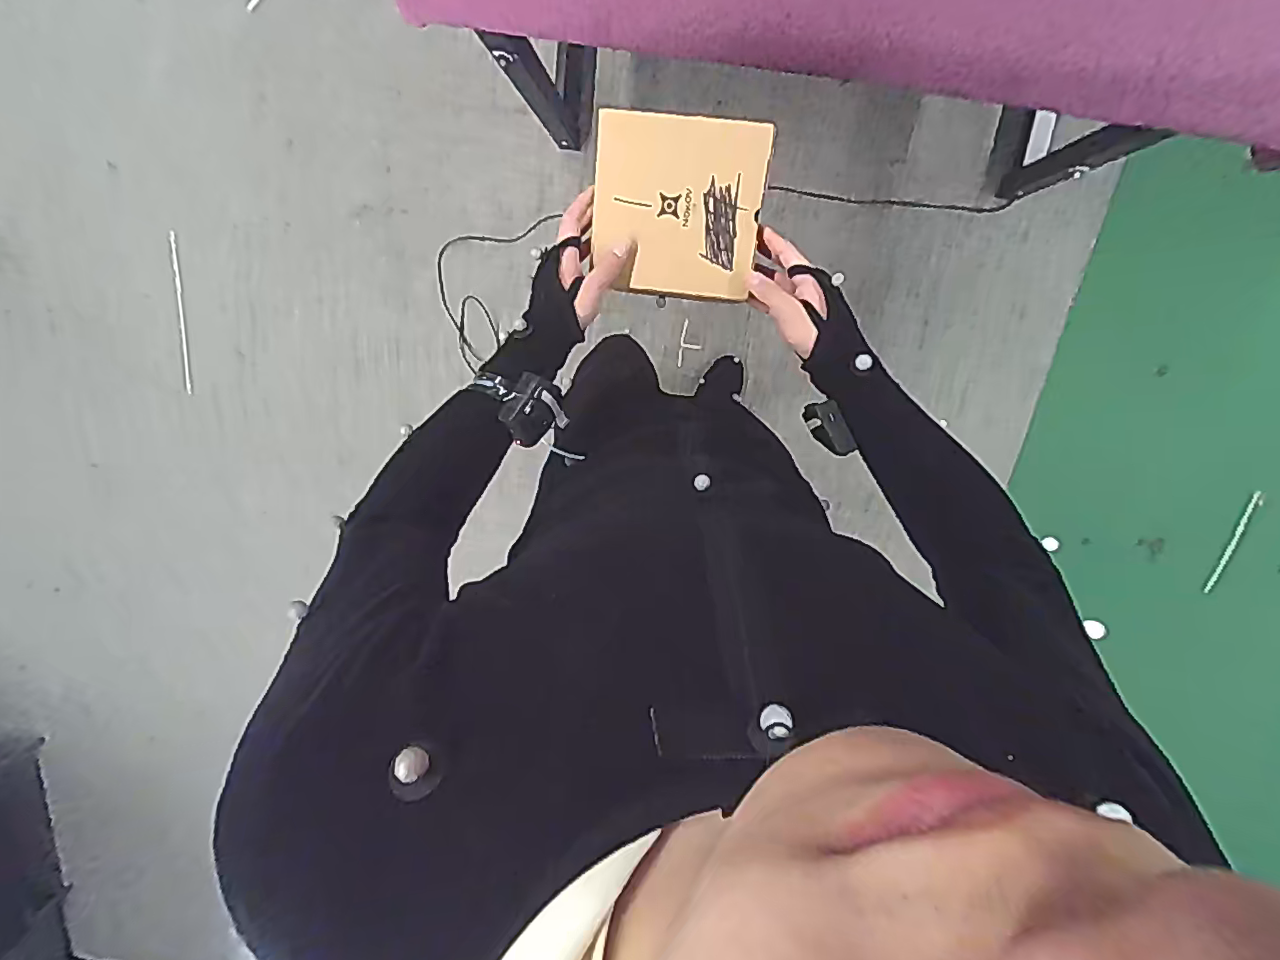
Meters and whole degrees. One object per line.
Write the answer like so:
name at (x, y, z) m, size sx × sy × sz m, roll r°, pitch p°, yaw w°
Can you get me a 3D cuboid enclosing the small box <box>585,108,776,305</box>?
small box at (0.042, -0.297, 0.621) m, size 0.179 × 0.176 × 0.168 m, roll 7°, pitch 107°, yaw 2°
